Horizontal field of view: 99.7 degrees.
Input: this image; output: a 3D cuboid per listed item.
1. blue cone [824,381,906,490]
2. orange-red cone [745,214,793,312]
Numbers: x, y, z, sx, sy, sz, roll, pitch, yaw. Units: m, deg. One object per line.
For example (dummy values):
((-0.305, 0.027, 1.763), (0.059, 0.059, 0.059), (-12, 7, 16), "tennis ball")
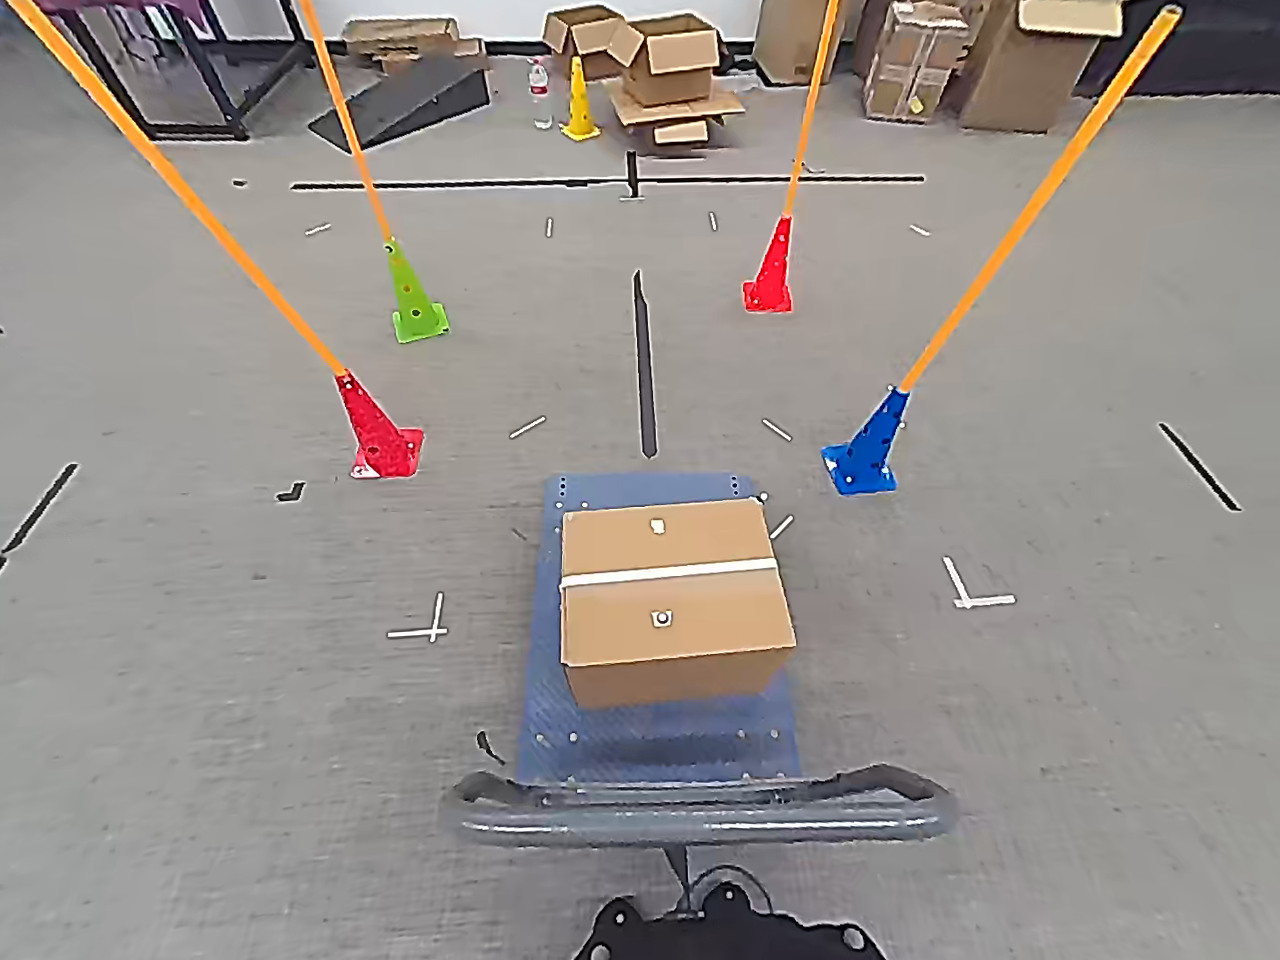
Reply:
((0.723, -0.144, 1.648), (0.193, 0.380, 0.192), (-5, 53, -5), "blue cone")
((0.551, -0.881, 2.155), (0.199, 0.360, 0.198), (4, 55, 1), "orange-red cone")
